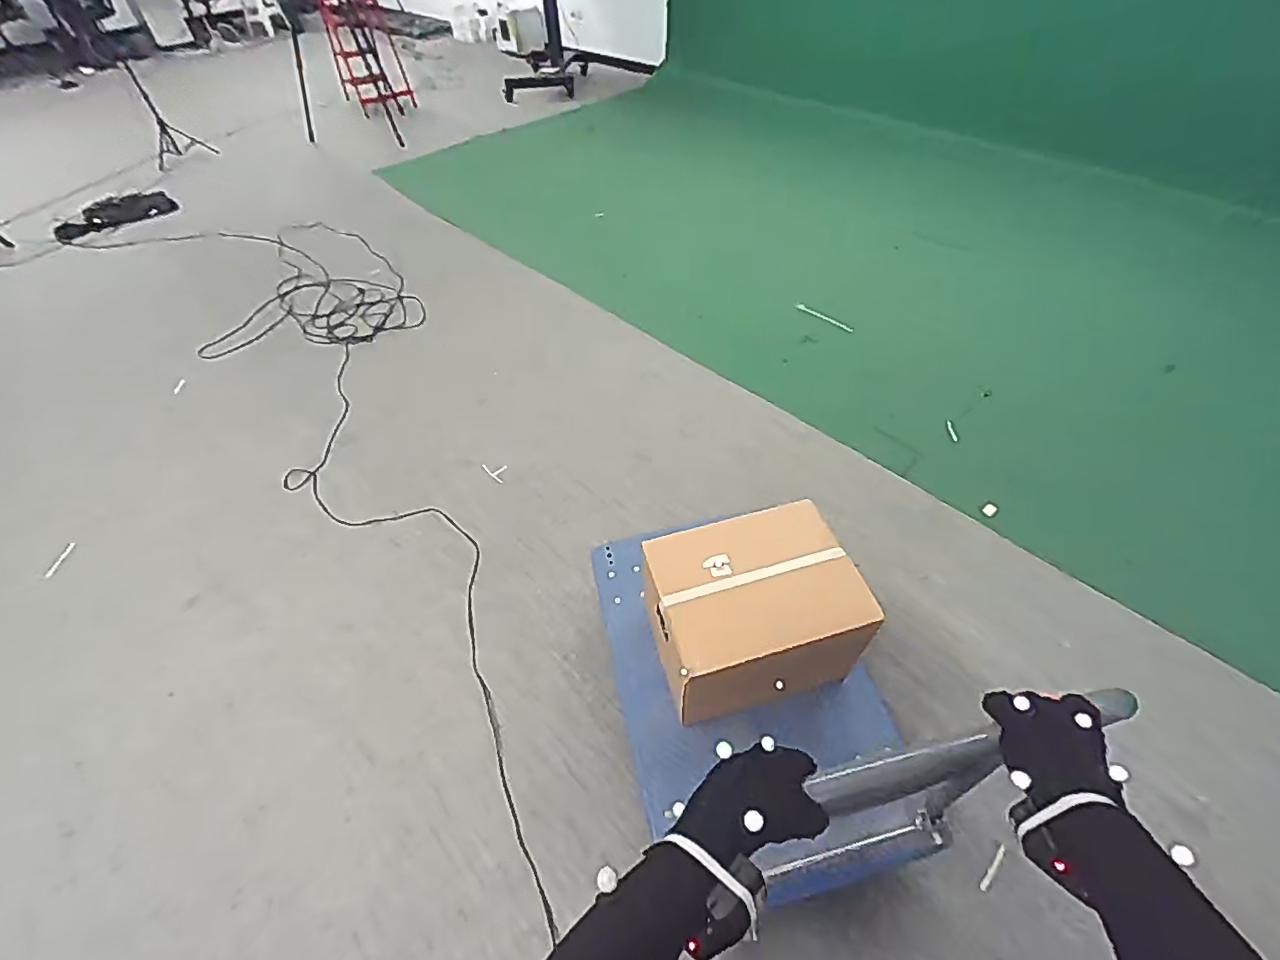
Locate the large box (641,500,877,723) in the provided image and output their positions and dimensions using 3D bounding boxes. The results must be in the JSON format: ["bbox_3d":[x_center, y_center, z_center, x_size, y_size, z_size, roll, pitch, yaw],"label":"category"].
[{"bbox_3d":[0.239,0.298,1.226,0.408,0.320,0.320,-14,50,-9],"label":"large box"}]
